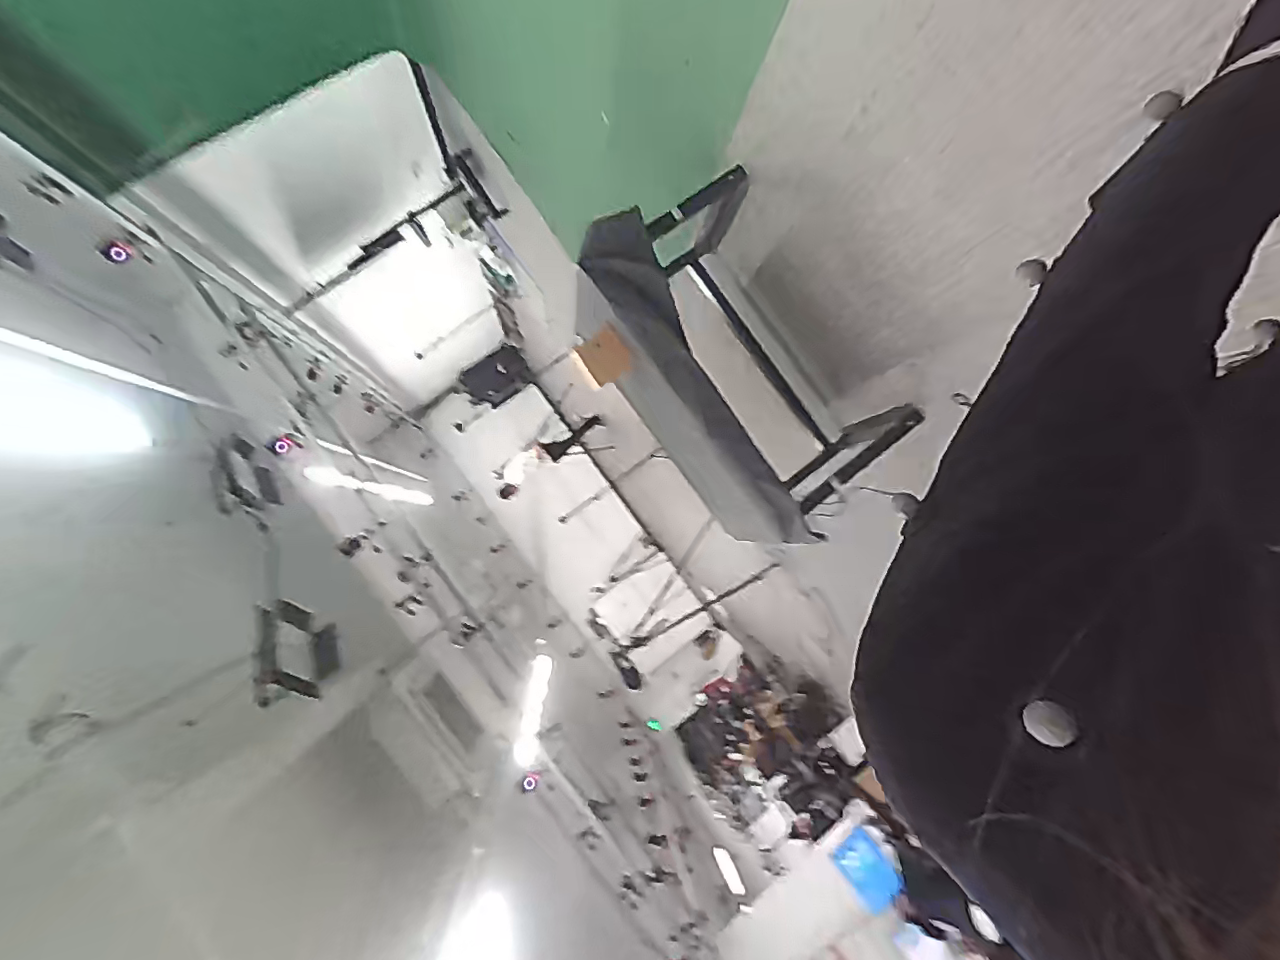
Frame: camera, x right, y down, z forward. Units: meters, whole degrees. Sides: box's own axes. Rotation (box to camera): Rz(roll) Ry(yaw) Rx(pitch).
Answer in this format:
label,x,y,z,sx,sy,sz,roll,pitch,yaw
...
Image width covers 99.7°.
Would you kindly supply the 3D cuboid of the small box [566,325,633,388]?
label,x,y,z,sx,sy,sz,roll,pitch,yaw
small box,-0.153,-0.470,2.053,0.179,0.176,0.168,55,172,-15
